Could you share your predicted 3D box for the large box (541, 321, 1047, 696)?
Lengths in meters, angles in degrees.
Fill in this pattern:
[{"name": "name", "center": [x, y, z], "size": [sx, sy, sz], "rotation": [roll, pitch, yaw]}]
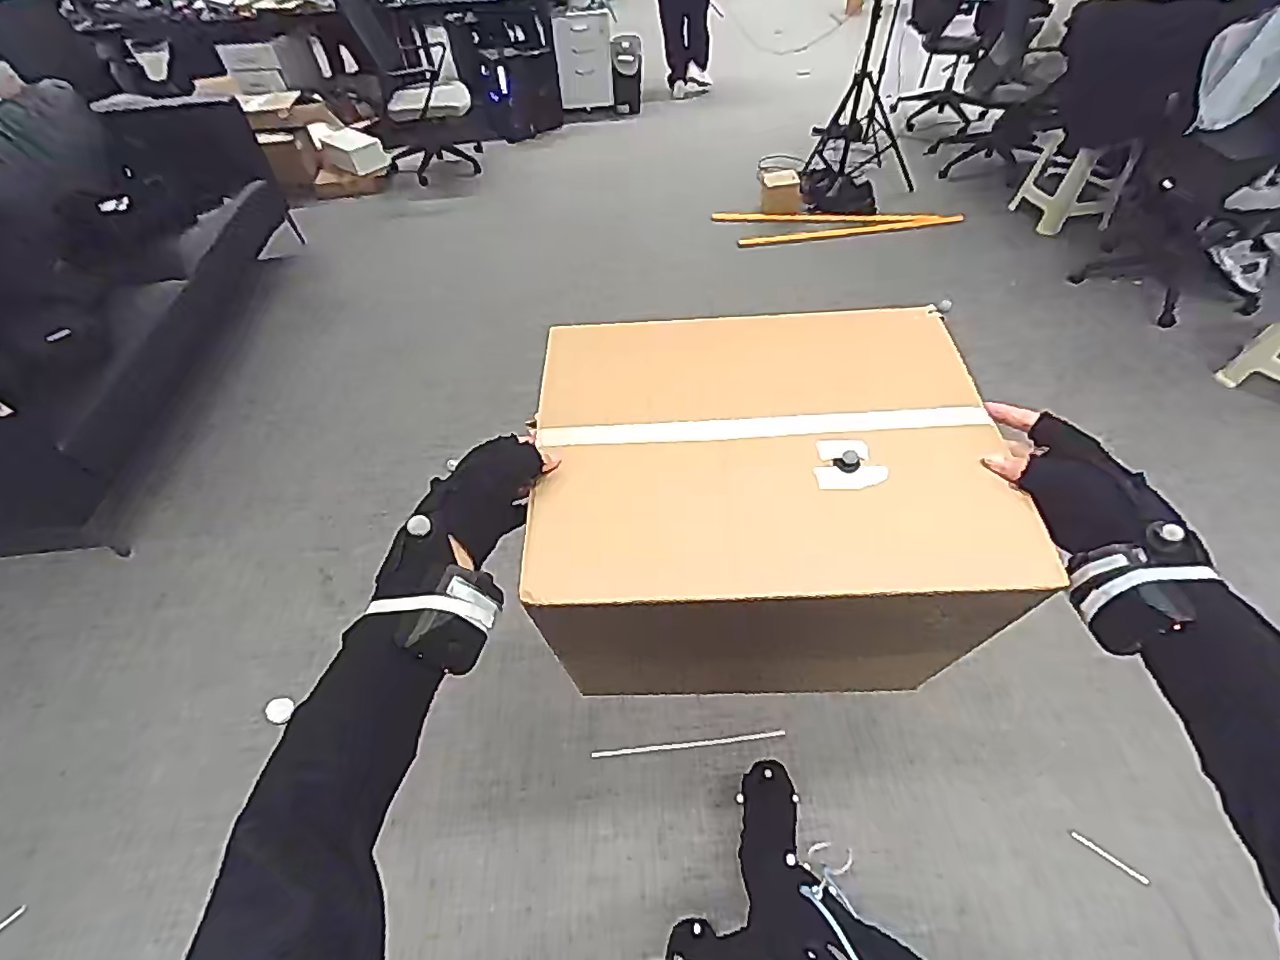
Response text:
[{"name": "large box", "center": [0.119, 0.047, 0.625], "size": [0.408, 0.320, 0.320], "rotation": [-2, 56, 2]}]
